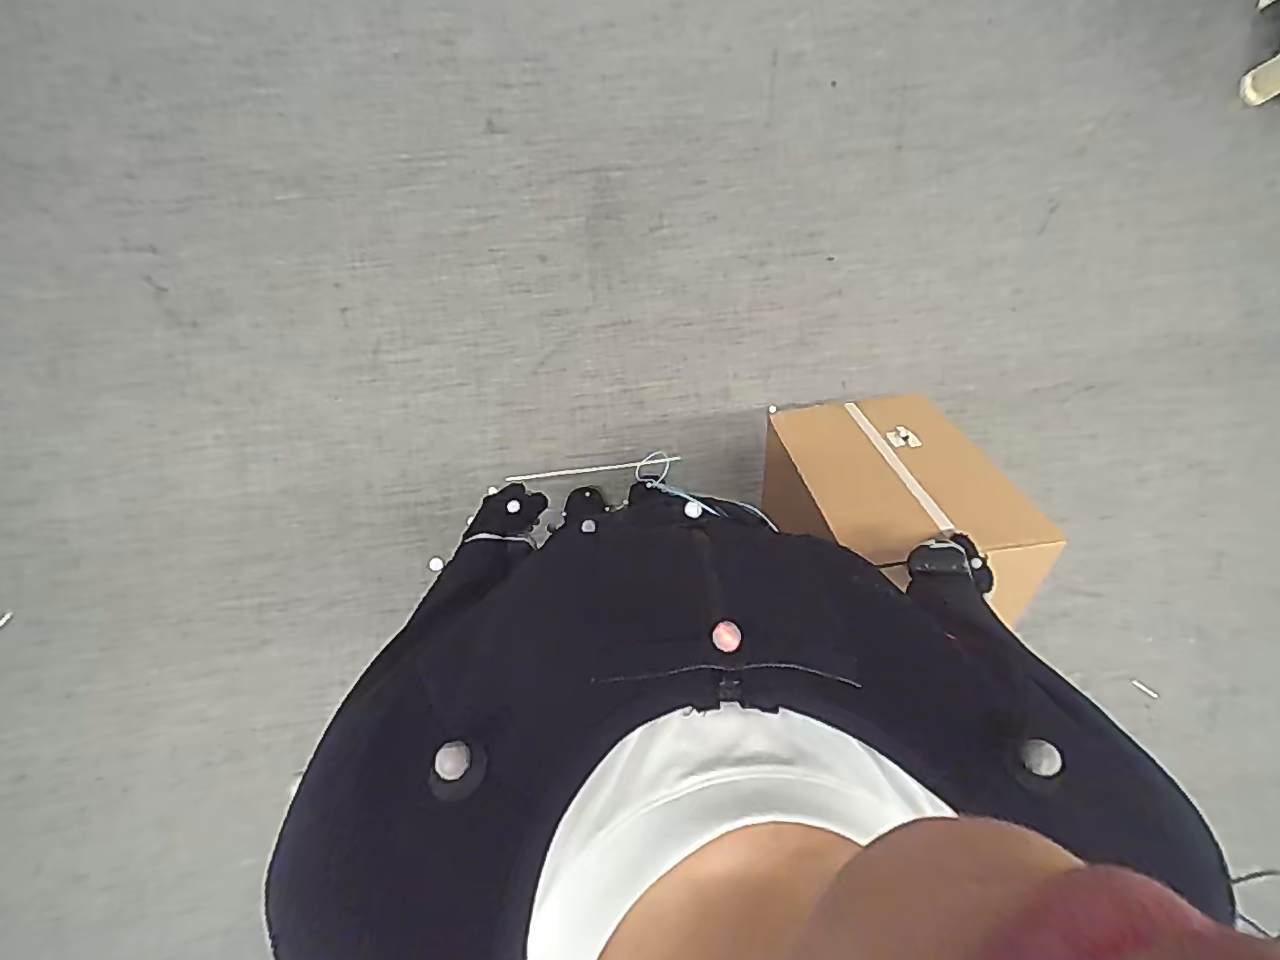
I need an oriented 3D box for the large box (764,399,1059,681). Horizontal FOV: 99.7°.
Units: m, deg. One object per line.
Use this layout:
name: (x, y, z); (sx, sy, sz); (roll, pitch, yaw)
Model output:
large box: (0.442, 0.098, 1.010); (0.320, 0.408, 0.320); (-7, 129, -2)
